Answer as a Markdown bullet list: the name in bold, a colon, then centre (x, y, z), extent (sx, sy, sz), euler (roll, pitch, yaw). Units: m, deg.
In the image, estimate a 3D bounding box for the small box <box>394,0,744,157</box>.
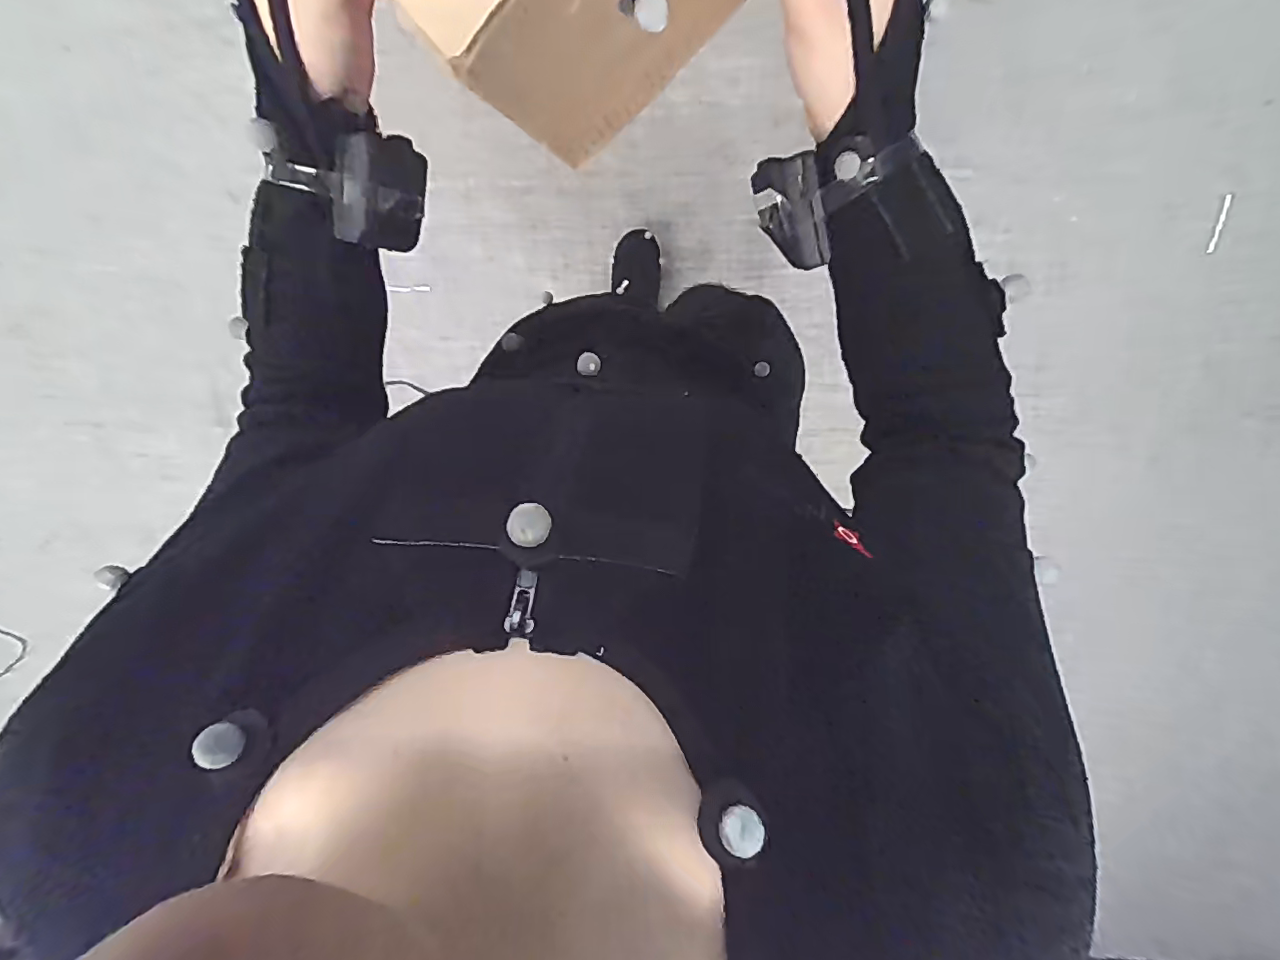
- **small box**: centre (-0.037, -0.278, 0.227), extent (0.179, 0.176, 0.168), euler (-37, 99, 19)
